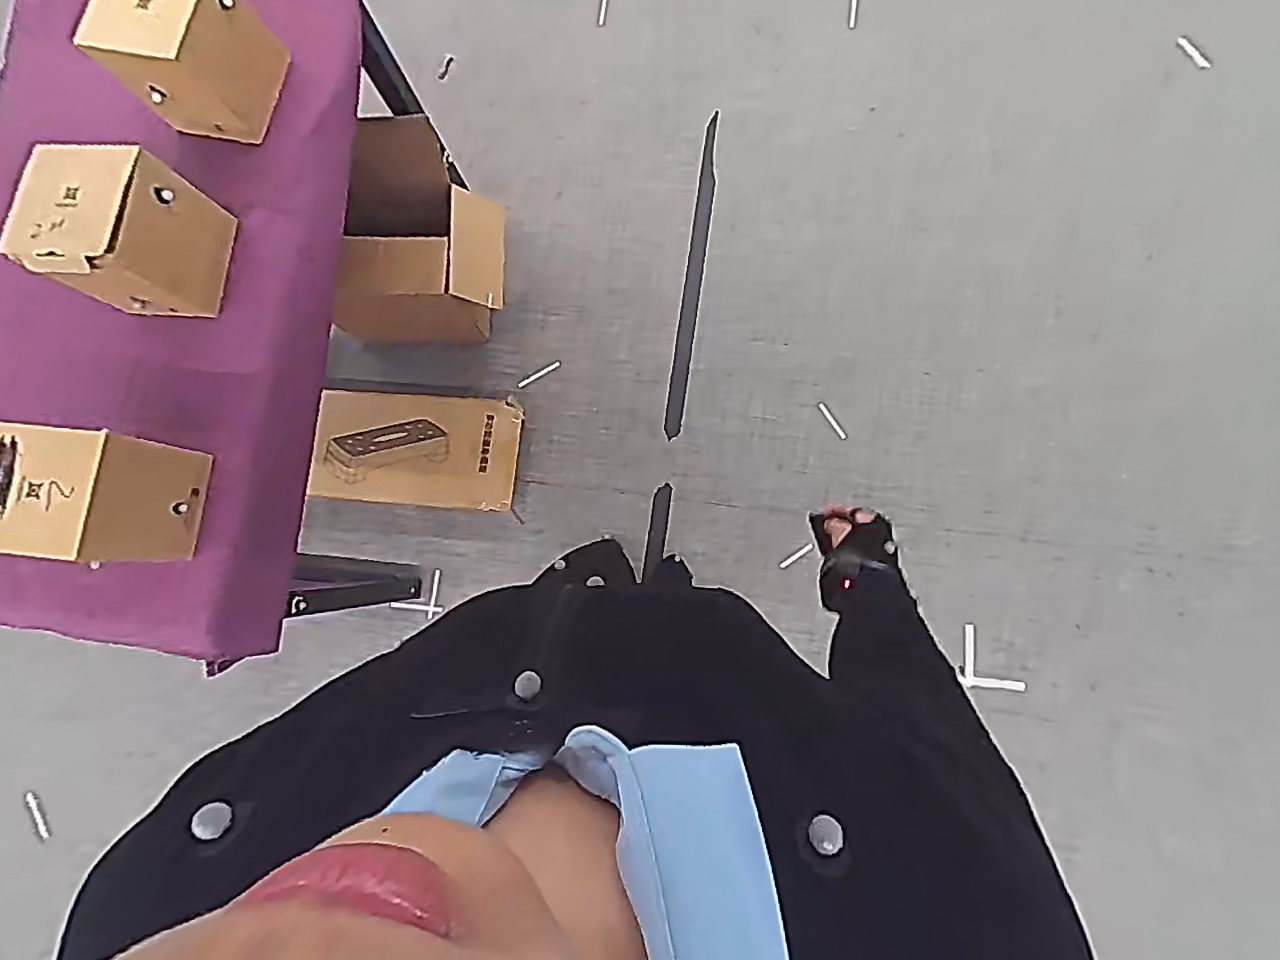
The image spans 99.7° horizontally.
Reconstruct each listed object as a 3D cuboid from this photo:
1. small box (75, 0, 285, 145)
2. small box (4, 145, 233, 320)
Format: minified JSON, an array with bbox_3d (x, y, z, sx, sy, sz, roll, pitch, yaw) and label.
[{"bbox_3d":[-0.709,-0.674,0.858,0.168,0.176,0.179,12,82,5],"label":"small box"},{"bbox_3d":[-0.763,-0.363,0.813,0.168,0.176,0.179,4,82,7],"label":"small box"}]
